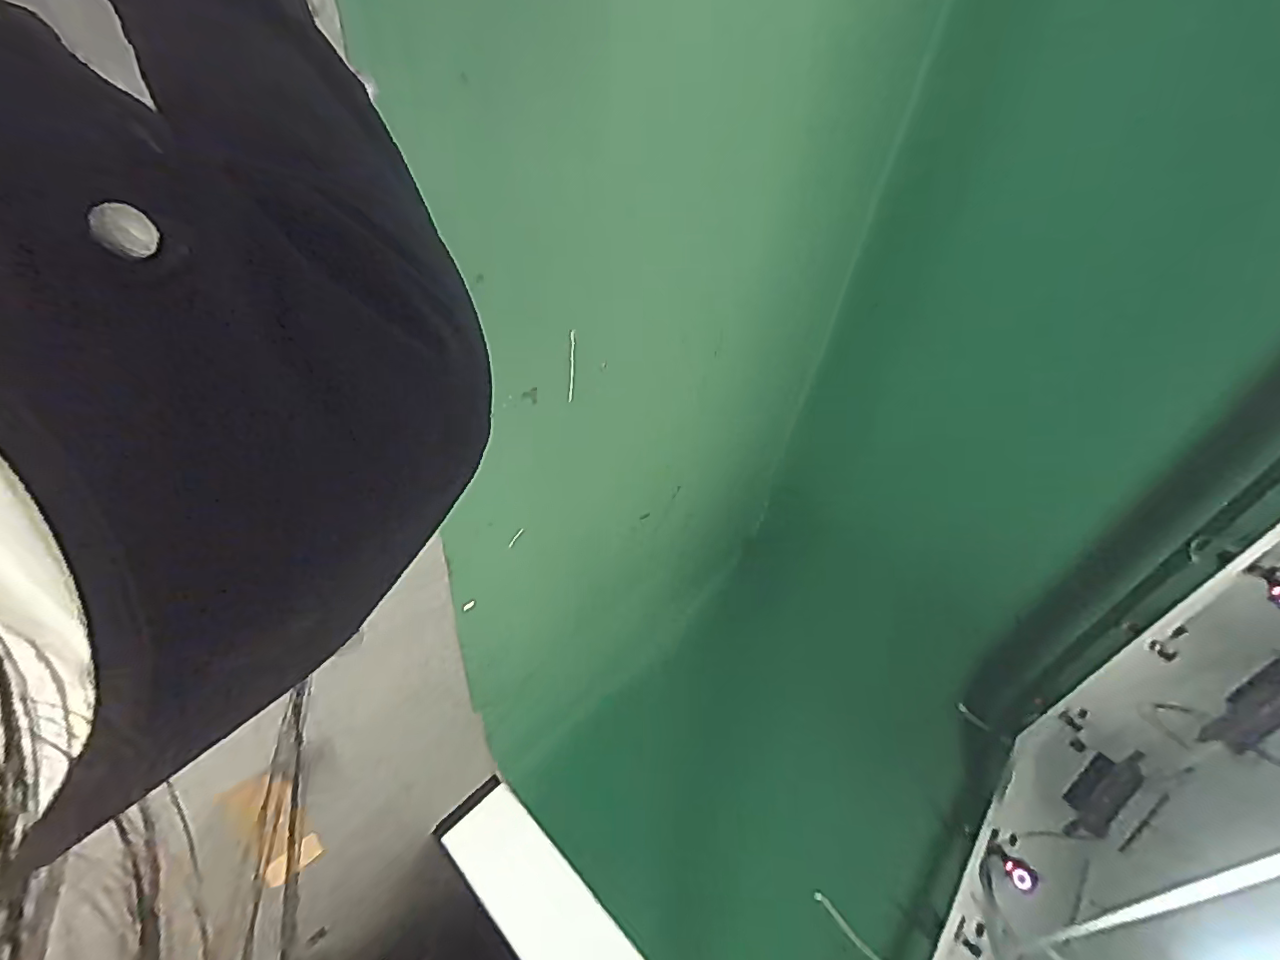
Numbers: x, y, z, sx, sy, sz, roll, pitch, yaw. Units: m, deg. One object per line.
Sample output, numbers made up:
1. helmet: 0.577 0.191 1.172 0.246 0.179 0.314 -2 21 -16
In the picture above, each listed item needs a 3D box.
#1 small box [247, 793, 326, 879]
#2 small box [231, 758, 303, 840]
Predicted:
1. small box: -1.272 1.275 1.949 0.168 0.176 0.179 -32 143 -41
2. small box: -1.391 1.190 2.020 0.179 0.176 0.168 -29 142 -40
